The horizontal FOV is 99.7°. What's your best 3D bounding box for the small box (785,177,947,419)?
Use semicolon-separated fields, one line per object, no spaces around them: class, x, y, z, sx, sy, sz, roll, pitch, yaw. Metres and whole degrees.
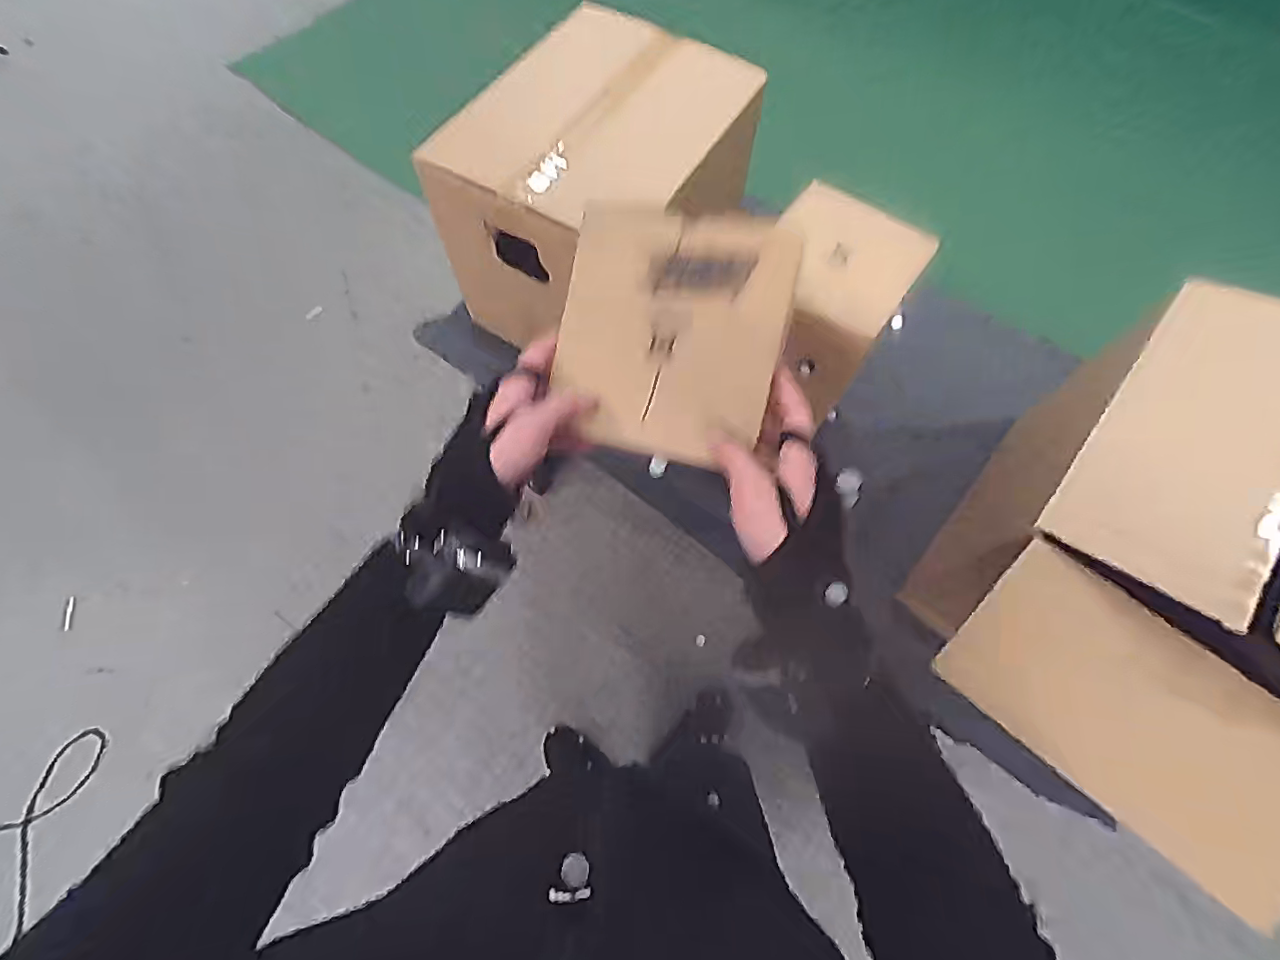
small box;0.212;-0.204;0.640;0.168;0.176;0.179;35;70;11

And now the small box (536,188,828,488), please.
small box;0.039;-0.099;0.437;0.168;0.176;0.179;14;95;13
